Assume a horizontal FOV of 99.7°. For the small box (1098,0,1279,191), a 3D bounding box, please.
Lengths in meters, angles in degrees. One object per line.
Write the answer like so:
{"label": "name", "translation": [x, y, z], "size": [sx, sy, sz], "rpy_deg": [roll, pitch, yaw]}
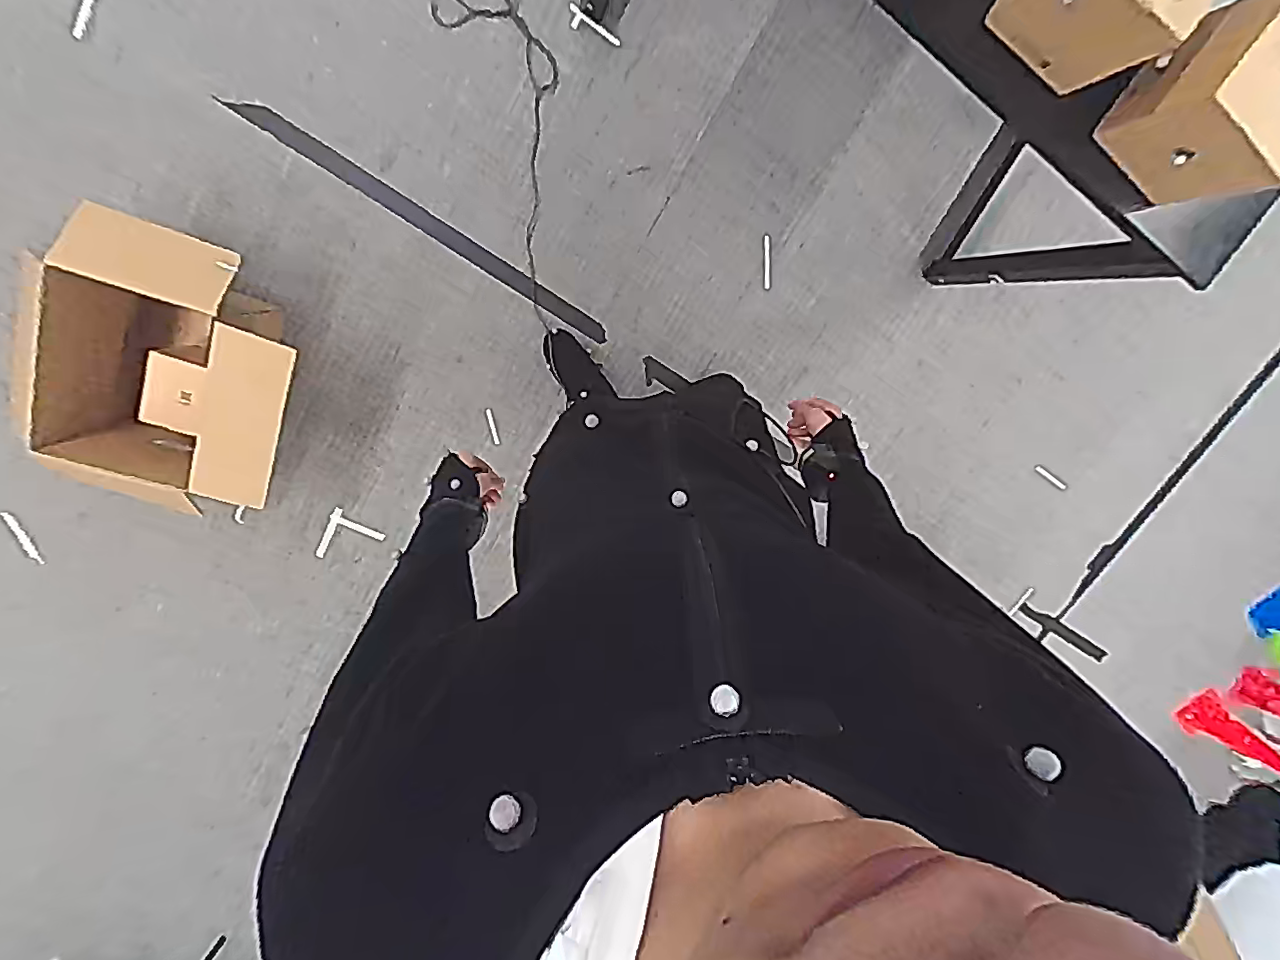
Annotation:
{"label": "small box", "translation": [0.794, -0.521, 0.730], "size": [0.179, 0.176, 0.168], "rpy_deg": [30, 102, -15]}
